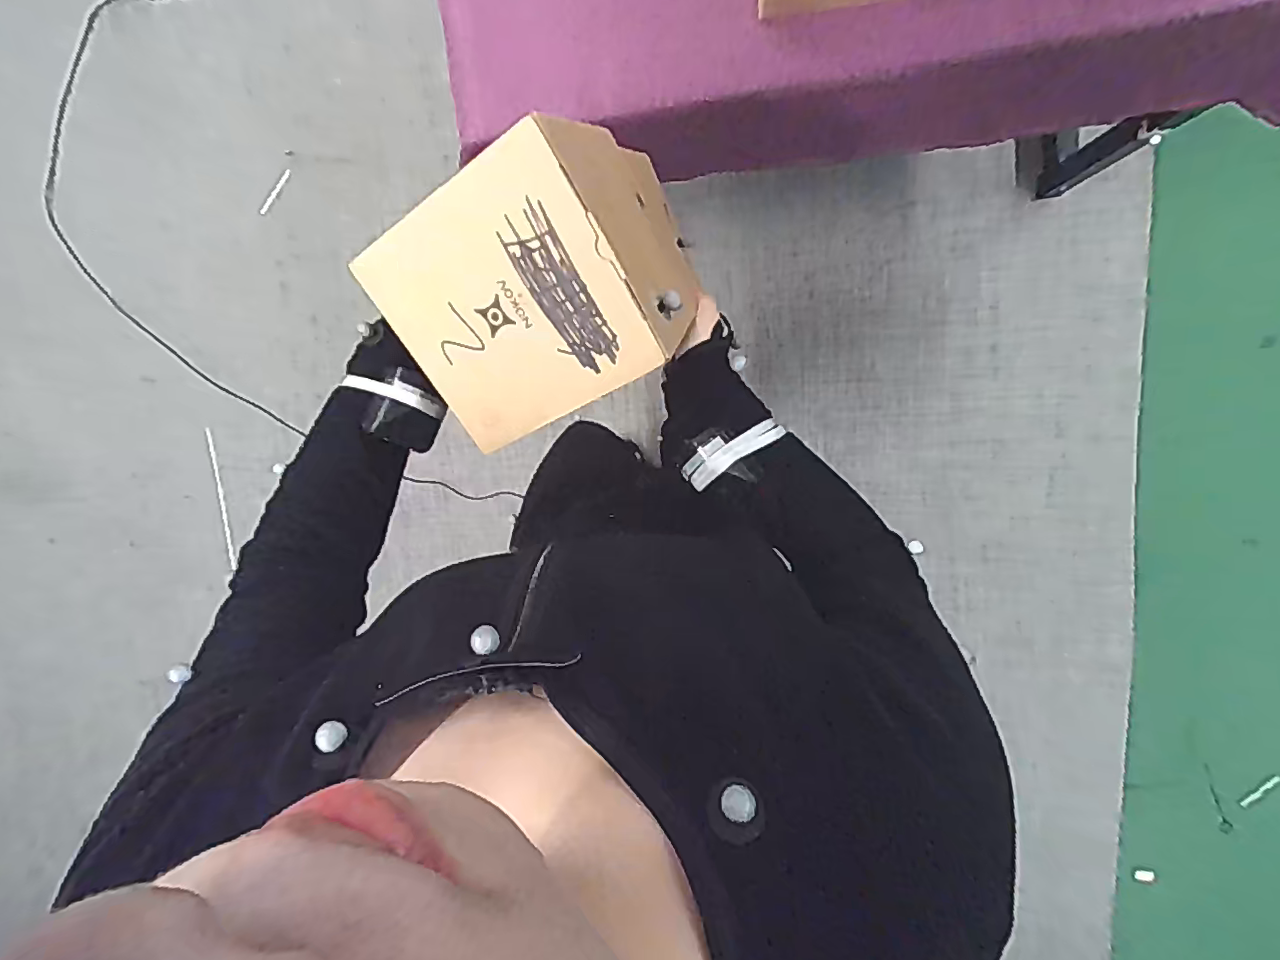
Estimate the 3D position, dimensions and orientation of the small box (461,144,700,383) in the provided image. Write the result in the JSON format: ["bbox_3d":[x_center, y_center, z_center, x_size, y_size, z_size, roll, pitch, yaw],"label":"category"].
[{"bbox_3d":[-0.049,-0.231,0.588,0.179,0.176,0.168,-19,112,22],"label":"small box"}]

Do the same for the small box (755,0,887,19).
[{"bbox_3d":[0.219,-0.633,0.563,0.179,0.176,0.168,-3,96,5],"label":"small box"}]
